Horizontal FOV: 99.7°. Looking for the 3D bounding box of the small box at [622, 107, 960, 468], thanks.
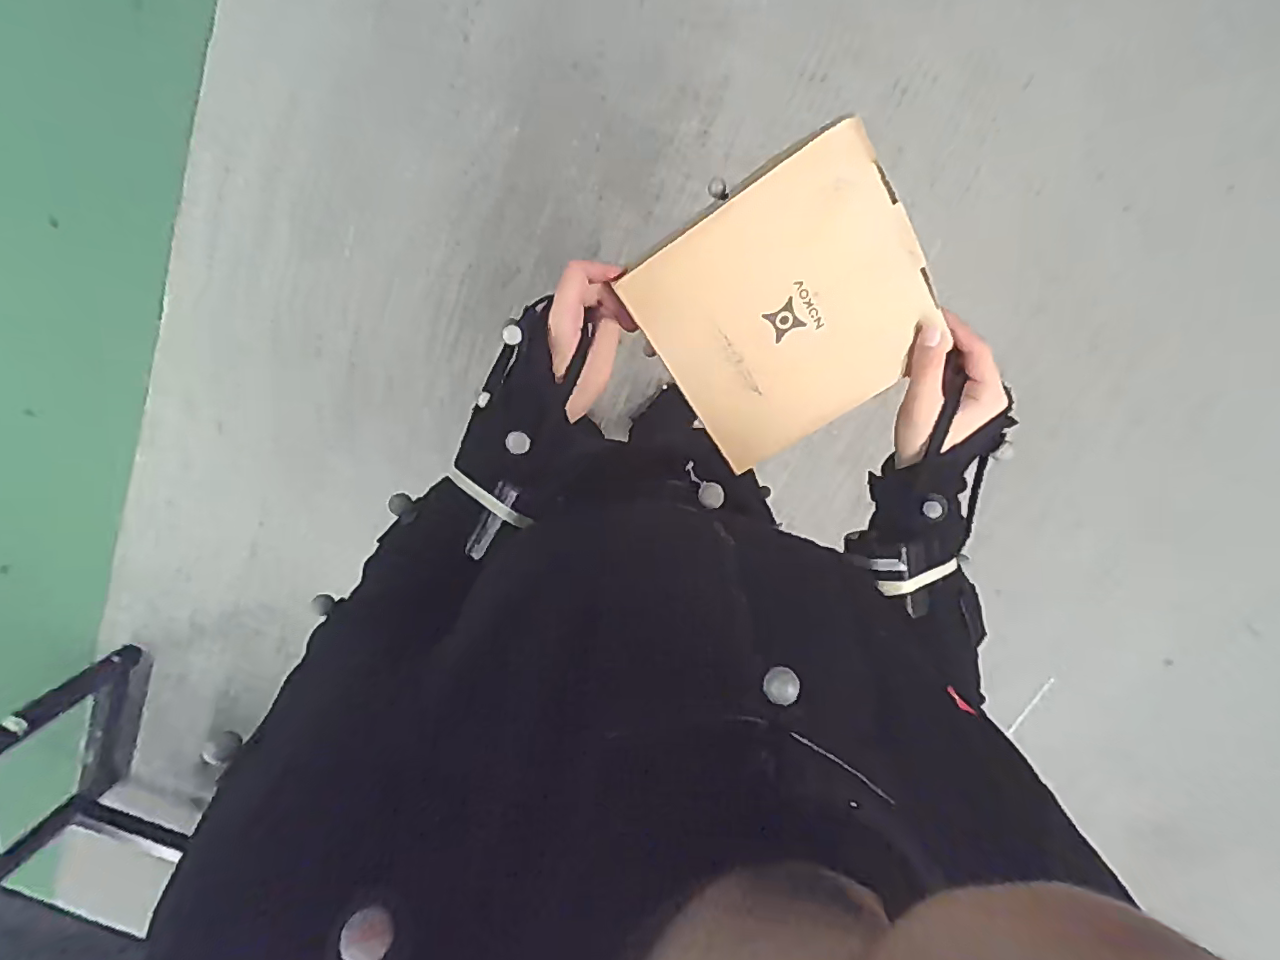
[{"bbox_3d":[0.101,-0.146,0.430,0.179,0.176,0.168,-33,109,14],"label":"small box"}]
